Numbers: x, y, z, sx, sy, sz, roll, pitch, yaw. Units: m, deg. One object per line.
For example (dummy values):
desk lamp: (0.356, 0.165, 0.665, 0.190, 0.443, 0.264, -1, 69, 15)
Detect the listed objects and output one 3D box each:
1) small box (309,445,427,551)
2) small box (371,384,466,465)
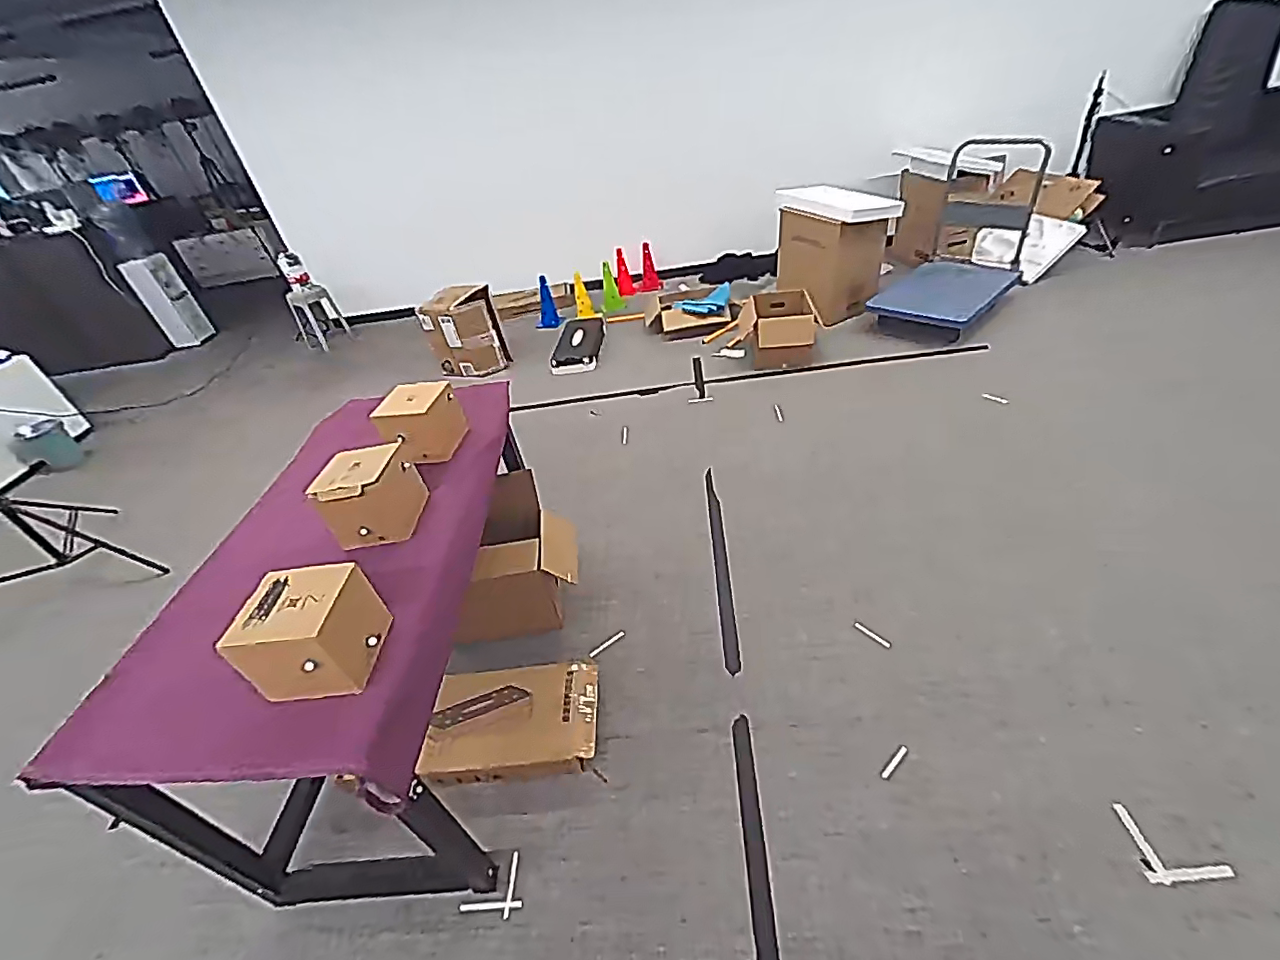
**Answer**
small box: (-0.635, 0.043, 1.291, 0.168, 0.176, 0.179, -10, 37, 6)
small box: (-0.619, -0.153, 1.541, 0.168, 0.176, 0.179, -3, 38, 10)
